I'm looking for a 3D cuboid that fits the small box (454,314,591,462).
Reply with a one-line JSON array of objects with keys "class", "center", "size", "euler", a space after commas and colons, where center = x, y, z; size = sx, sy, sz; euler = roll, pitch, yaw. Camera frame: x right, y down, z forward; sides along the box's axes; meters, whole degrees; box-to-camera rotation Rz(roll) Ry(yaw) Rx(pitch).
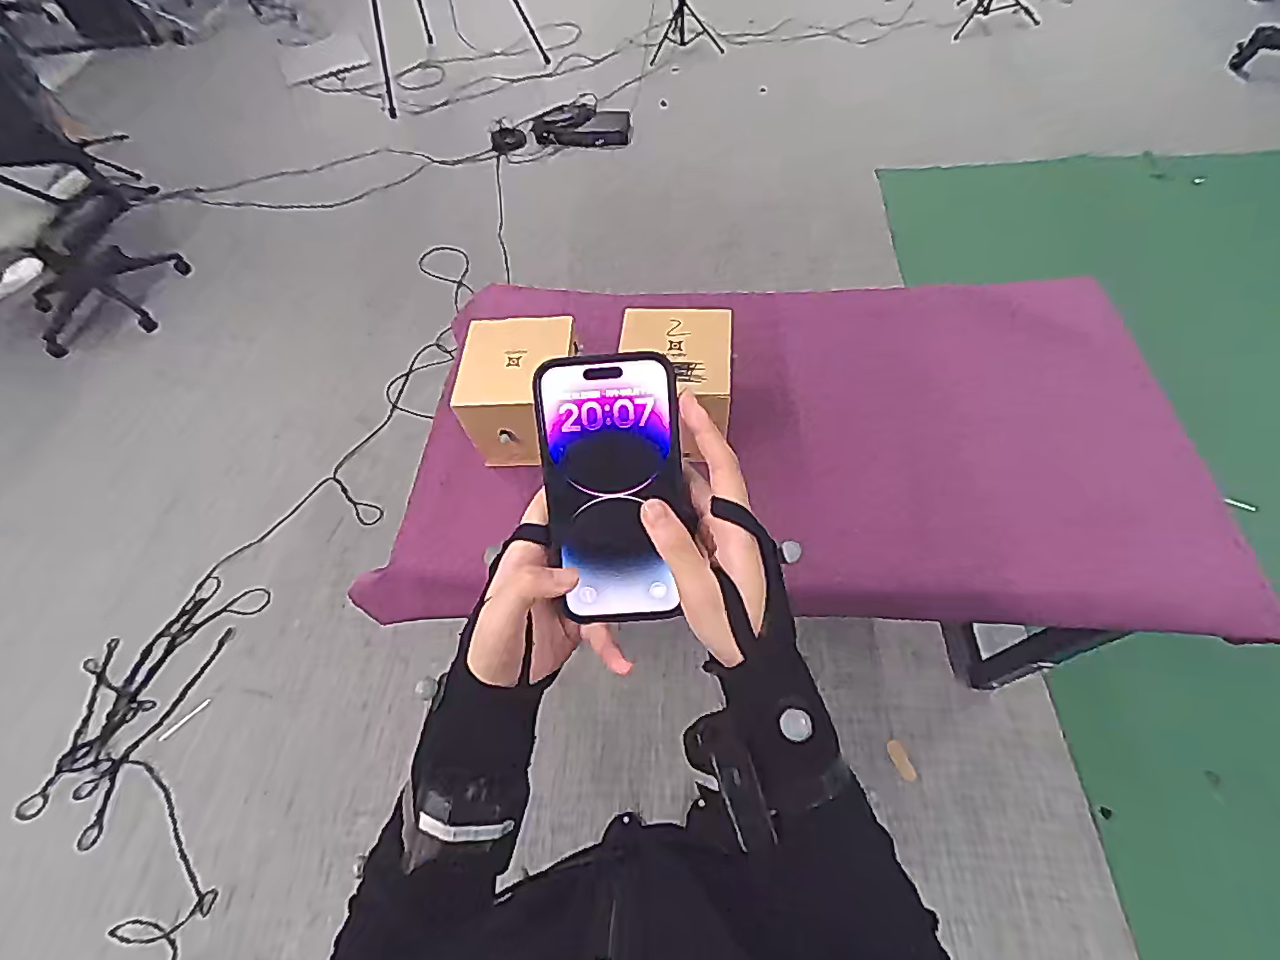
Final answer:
[{"class": "small box", "center": [-0.177, -0.139, 0.872], "size": [0.168, 0.176, 0.179], "euler": [-2, 58, 5]}]
